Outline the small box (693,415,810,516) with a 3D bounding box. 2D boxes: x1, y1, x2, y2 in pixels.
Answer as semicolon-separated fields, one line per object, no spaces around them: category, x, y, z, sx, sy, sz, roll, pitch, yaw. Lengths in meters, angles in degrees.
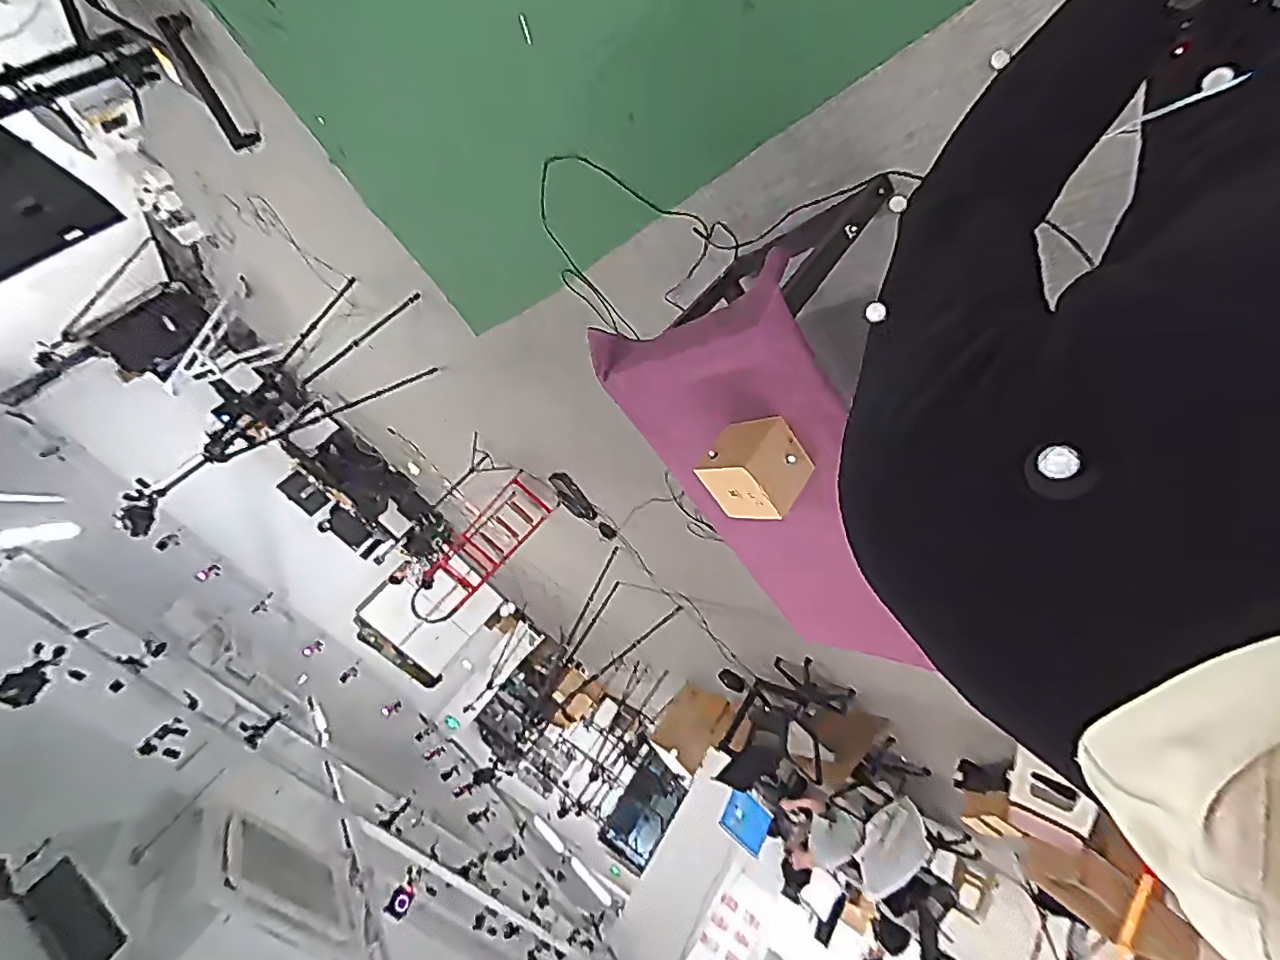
small box;0.265;-0.035;1.276;0.168;0.176;0.179;50;153;-23
